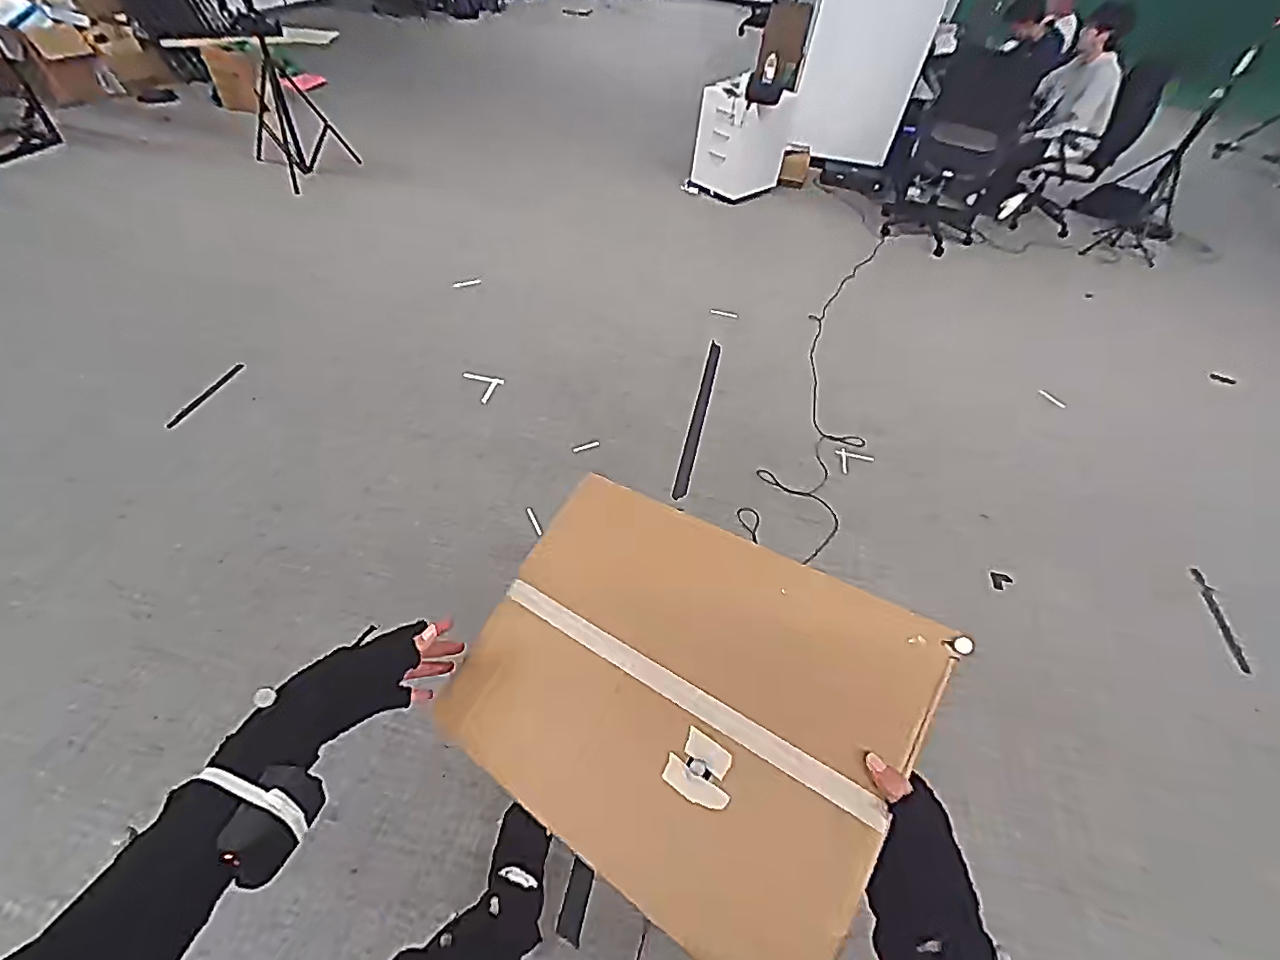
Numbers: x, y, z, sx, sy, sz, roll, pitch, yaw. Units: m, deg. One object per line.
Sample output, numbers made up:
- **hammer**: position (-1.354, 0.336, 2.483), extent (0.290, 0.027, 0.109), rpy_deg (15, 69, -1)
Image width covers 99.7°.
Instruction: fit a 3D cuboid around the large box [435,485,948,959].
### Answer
- **large box**: position (0.065, 0.261, 0.631), extent (0.408, 0.320, 0.320), rpy_deg (23, 72, 27)
